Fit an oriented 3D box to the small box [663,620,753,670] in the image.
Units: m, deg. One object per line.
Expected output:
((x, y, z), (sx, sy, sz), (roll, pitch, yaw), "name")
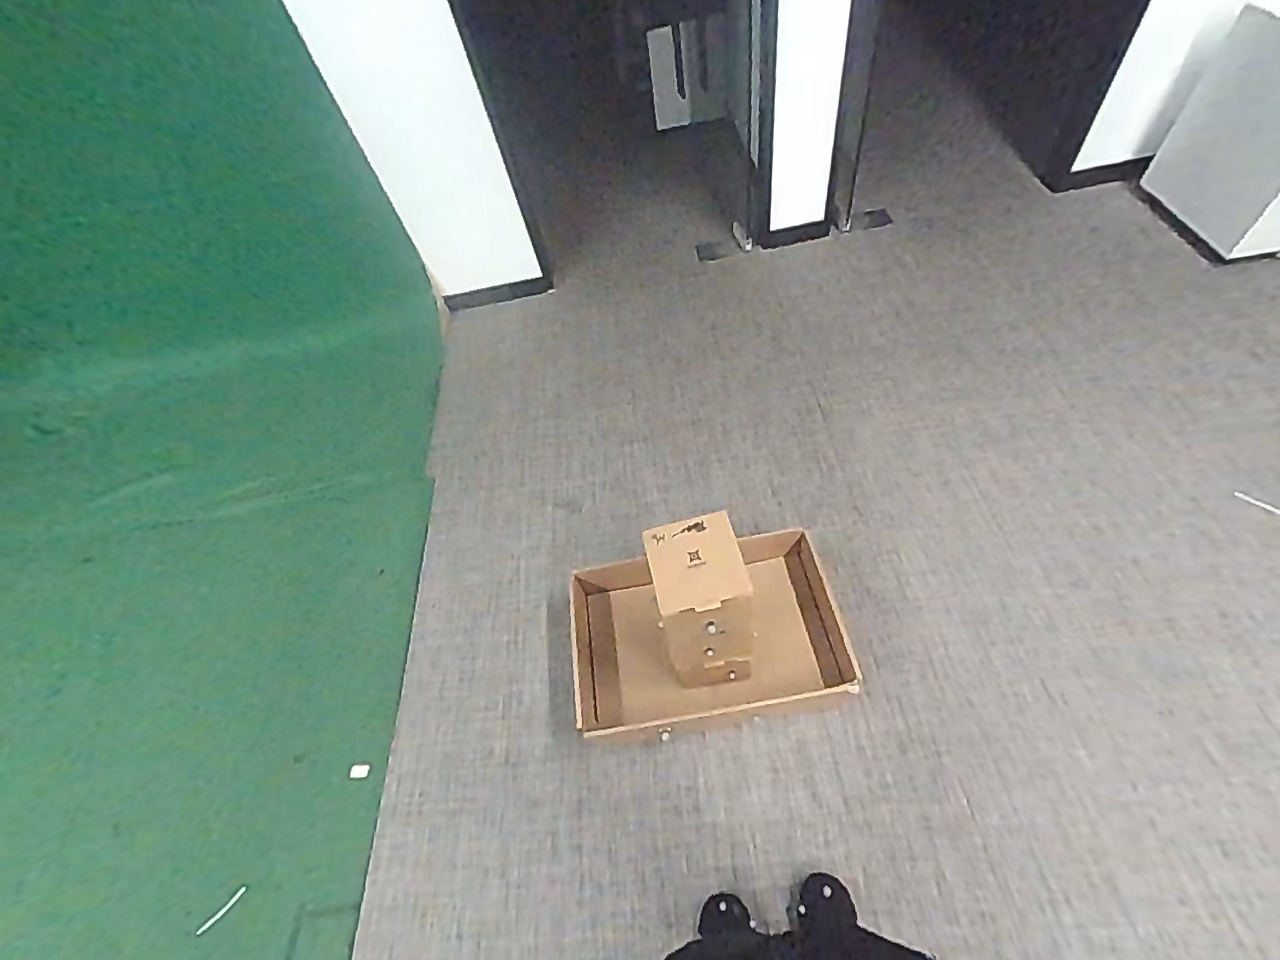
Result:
((0.138, 0.292, 1.160), (0.179, 0.176, 0.168), (-11, 54, 4), "small box")

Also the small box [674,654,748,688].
((0.163, 0.386, 1.292), (0.168, 0.176, 0.179), (-9, 52, 4), "small box")

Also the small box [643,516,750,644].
((0.110, 0.198, 1.030), (0.168, 0.176, 0.179), (-13, 54, 2), "small box")
